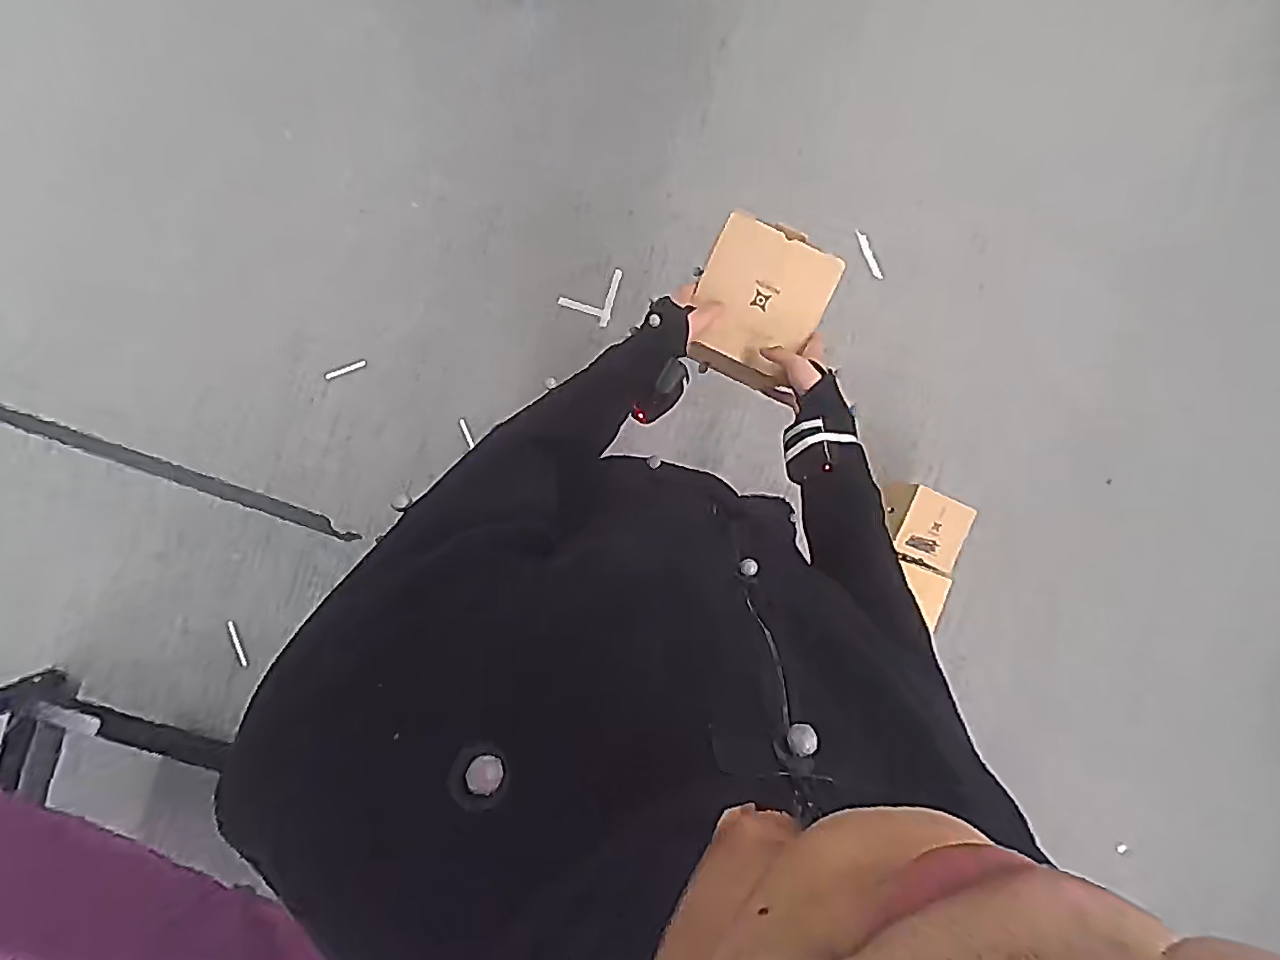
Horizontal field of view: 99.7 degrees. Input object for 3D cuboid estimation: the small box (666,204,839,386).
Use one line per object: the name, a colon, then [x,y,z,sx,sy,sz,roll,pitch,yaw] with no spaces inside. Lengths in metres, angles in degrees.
small box: [0.145,-0.248,0.774,0.168,0.176,0.179,24,95,-5]
